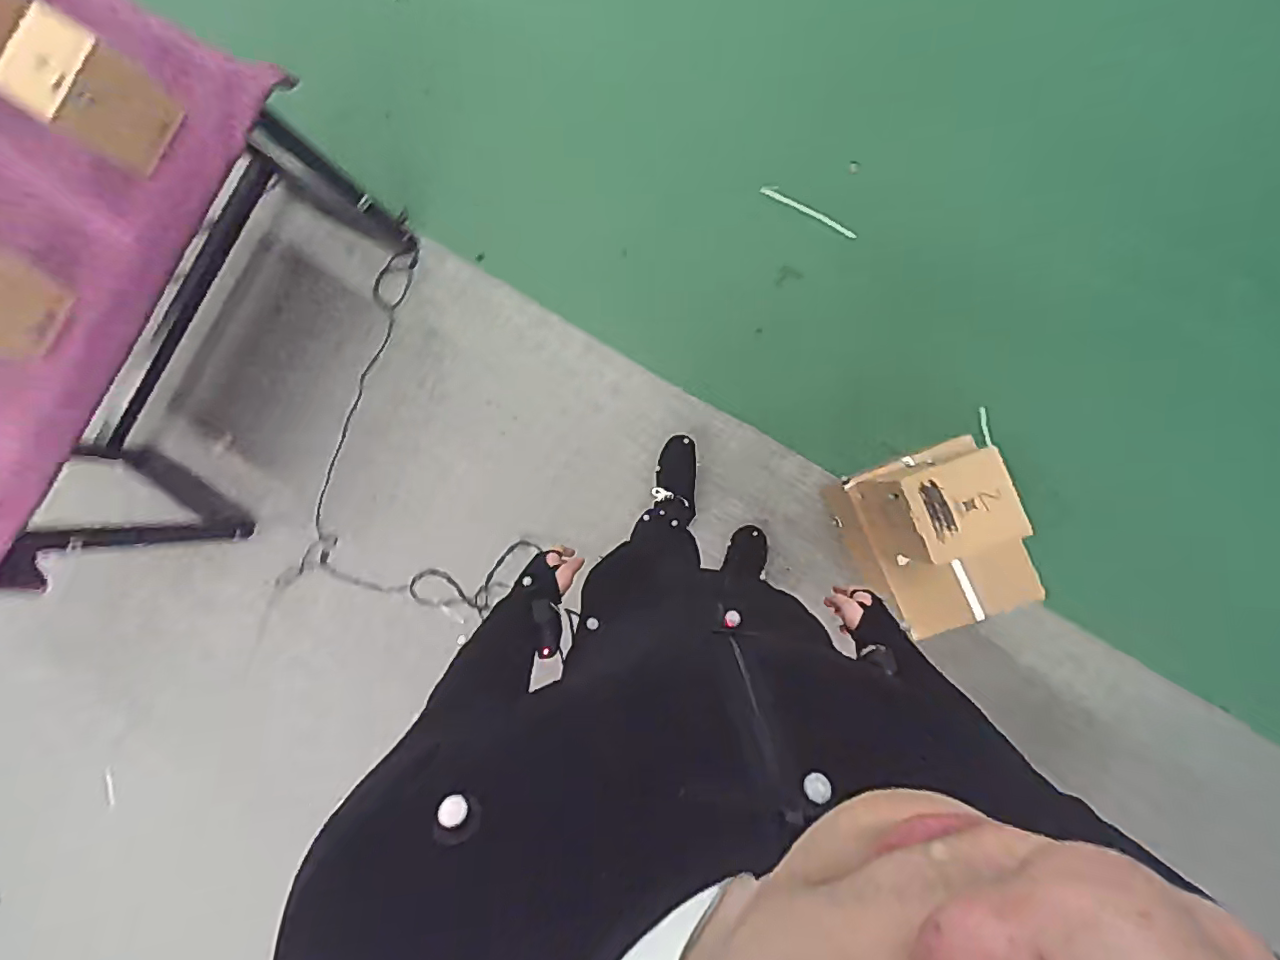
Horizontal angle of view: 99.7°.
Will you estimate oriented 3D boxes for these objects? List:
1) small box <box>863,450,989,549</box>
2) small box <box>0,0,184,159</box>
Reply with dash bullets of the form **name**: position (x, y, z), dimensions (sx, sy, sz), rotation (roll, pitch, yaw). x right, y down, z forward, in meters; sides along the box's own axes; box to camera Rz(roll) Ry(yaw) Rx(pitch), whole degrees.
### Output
- **small box**: position (0.606, 0.044, 1.178), dimensions (0.179, 0.176, 0.168), rotation (-19, 86, 6)
- **small box**: position (-1.029, -0.751, 1.016), dimensions (0.179, 0.176, 0.168), rotation (34, 93, 10)
